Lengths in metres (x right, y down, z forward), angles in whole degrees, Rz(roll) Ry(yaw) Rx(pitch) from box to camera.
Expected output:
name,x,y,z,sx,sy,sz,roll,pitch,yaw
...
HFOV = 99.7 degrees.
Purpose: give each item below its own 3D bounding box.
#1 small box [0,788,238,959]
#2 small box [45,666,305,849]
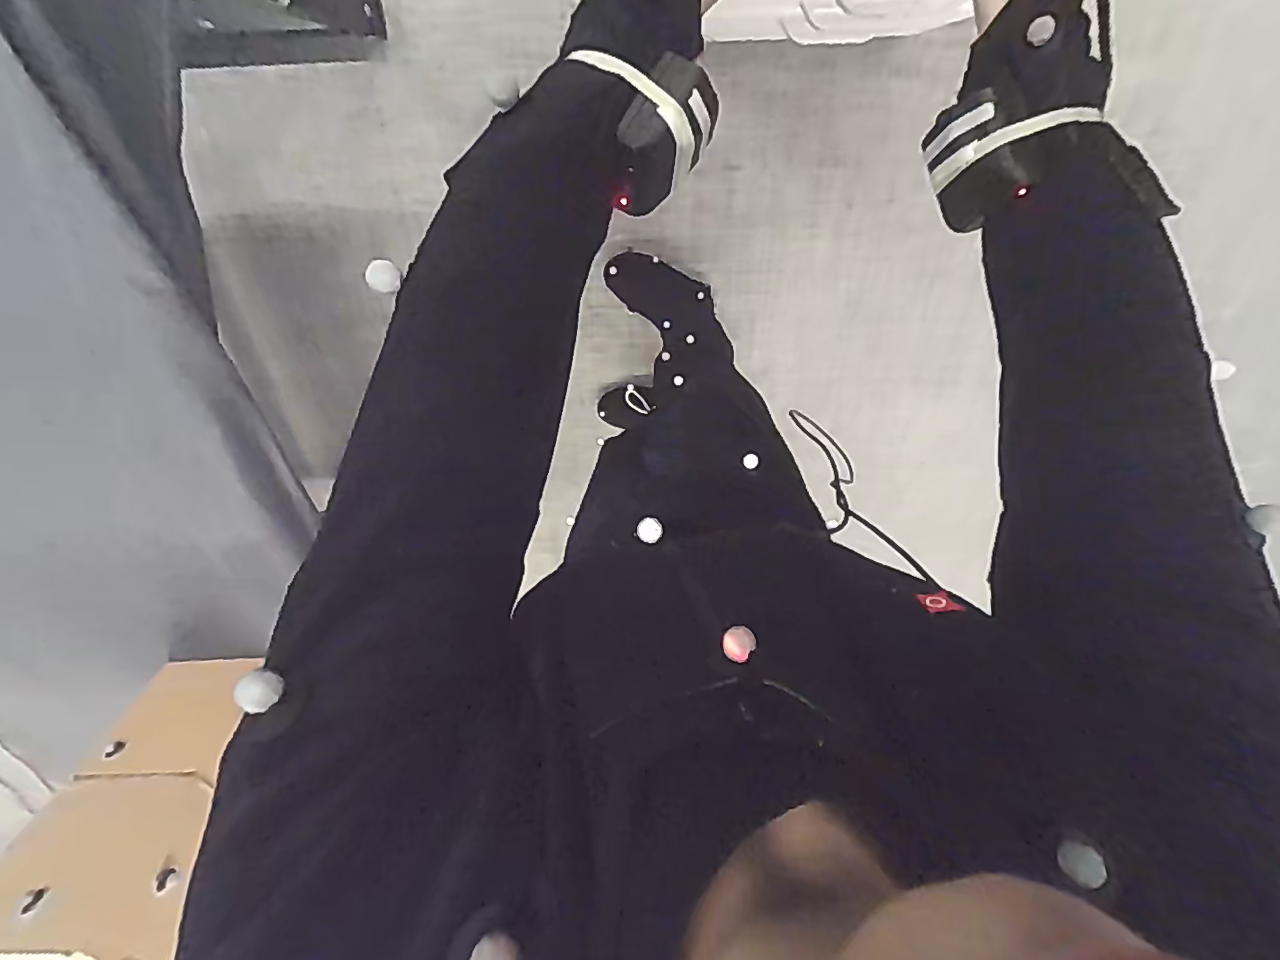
name,x,y,z,sx,sy,sz,roll,pitch,yaw
small box,-0.592,0.460,0.591,0.179,0.176,0.168,-5,122,6
small box,-0.591,0.368,0.726,0.179,0.176,0.168,-4,123,5
